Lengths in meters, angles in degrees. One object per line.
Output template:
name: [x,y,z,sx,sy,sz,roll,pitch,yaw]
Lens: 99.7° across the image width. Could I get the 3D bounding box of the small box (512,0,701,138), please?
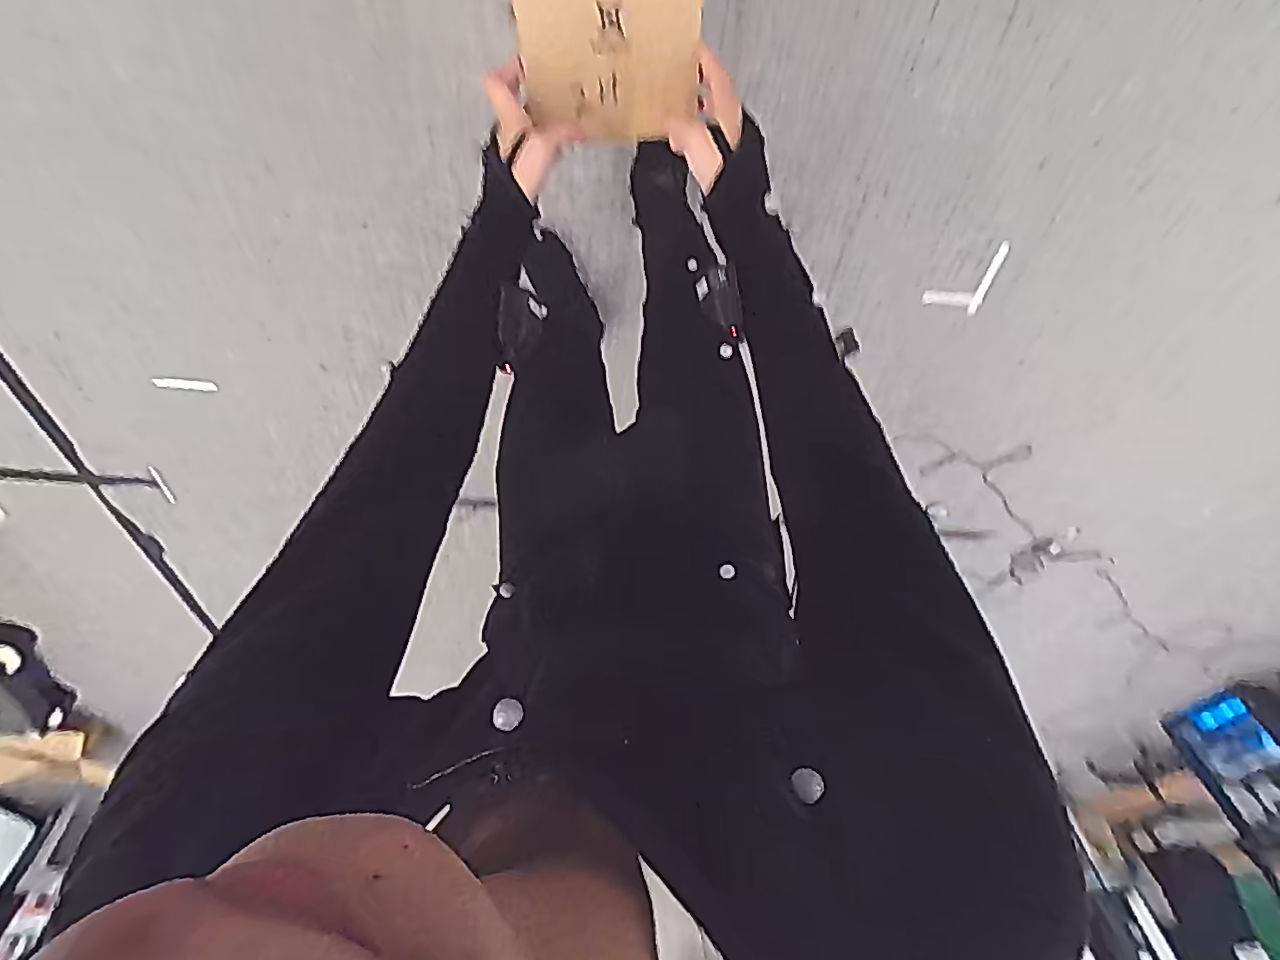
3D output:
small box: [-0.036,-0.457,0.525,0.168,0.176,0.179,-4,137,-2]
